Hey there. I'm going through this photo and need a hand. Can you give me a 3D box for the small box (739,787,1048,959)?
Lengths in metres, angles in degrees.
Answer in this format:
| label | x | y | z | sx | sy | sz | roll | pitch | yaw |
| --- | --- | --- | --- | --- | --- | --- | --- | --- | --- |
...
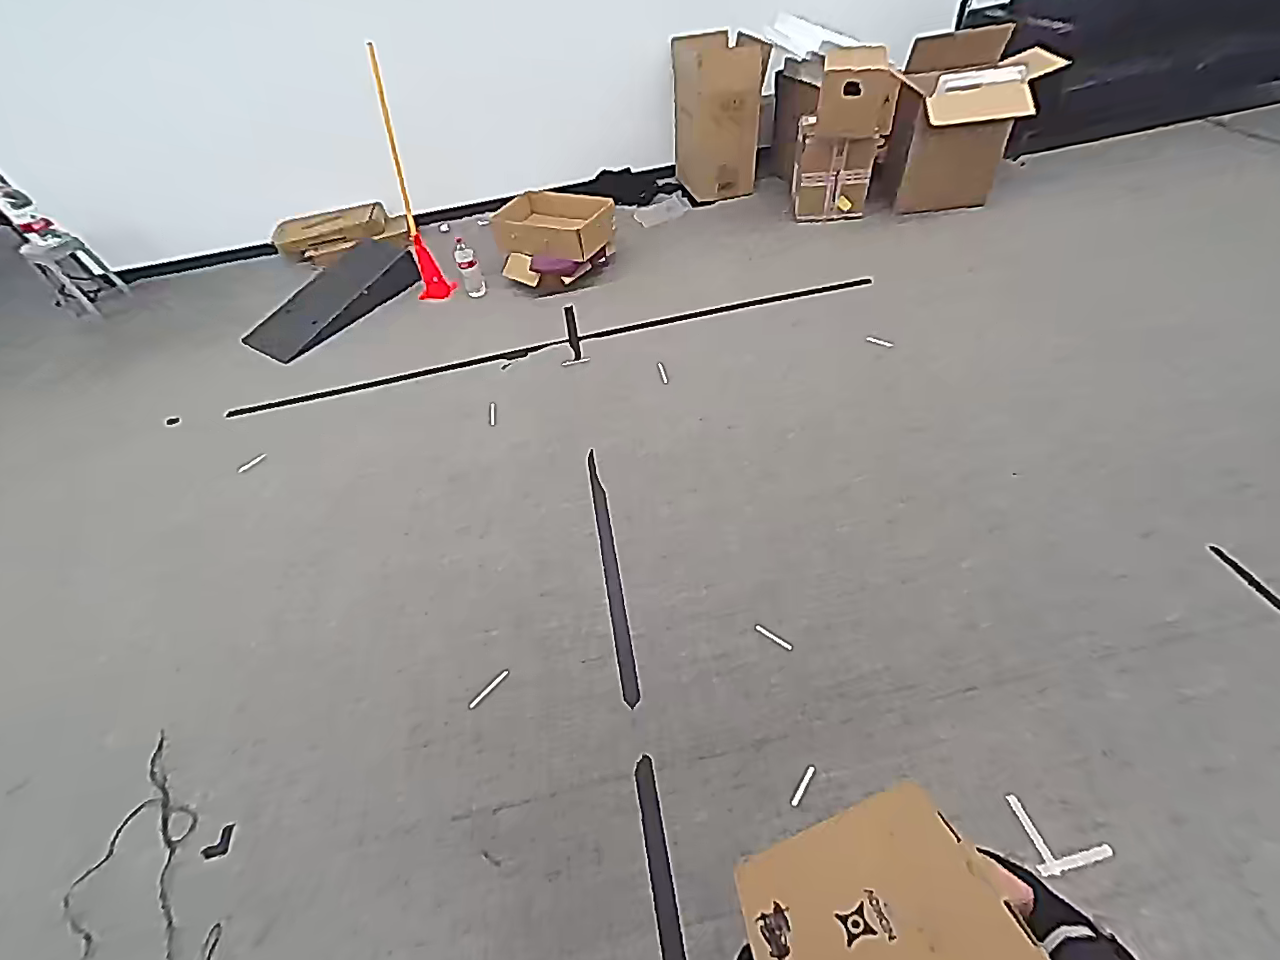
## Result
| label | x | y | z | sx | sy | sz | roll | pitch | yaw |
| --- | --- | --- | --- | --- | --- | --- | --- | --- | --- |
| small box | 0.202 | 0.386 | 0.404 | 0.179 | 0.176 | 0.168 | -27 | 11 | 3 |
